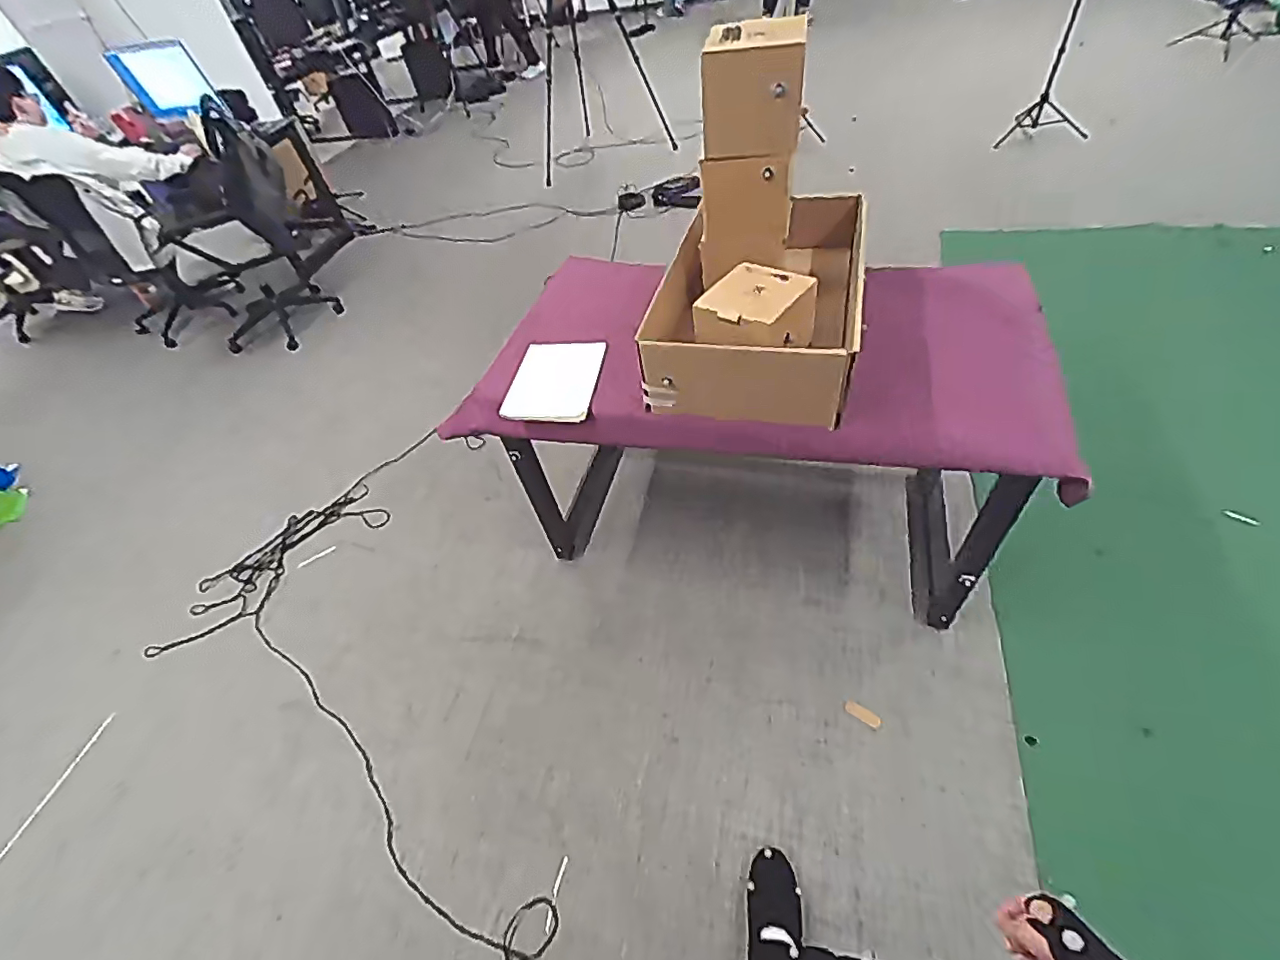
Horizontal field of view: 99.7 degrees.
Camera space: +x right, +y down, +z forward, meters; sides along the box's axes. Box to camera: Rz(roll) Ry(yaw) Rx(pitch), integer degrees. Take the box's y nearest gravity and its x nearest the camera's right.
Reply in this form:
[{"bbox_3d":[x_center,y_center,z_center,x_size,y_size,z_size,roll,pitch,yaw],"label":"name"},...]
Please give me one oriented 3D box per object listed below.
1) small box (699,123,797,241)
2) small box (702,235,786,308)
[{"bbox_3d":[0.228,-0.617,1.131,0.179,0.176,0.168,6,53,15],"label":"small box"},{"bbox_3d":[0.248,-0.519,1.257,0.168,0.176,0.179,8,53,17],"label":"small box"}]
